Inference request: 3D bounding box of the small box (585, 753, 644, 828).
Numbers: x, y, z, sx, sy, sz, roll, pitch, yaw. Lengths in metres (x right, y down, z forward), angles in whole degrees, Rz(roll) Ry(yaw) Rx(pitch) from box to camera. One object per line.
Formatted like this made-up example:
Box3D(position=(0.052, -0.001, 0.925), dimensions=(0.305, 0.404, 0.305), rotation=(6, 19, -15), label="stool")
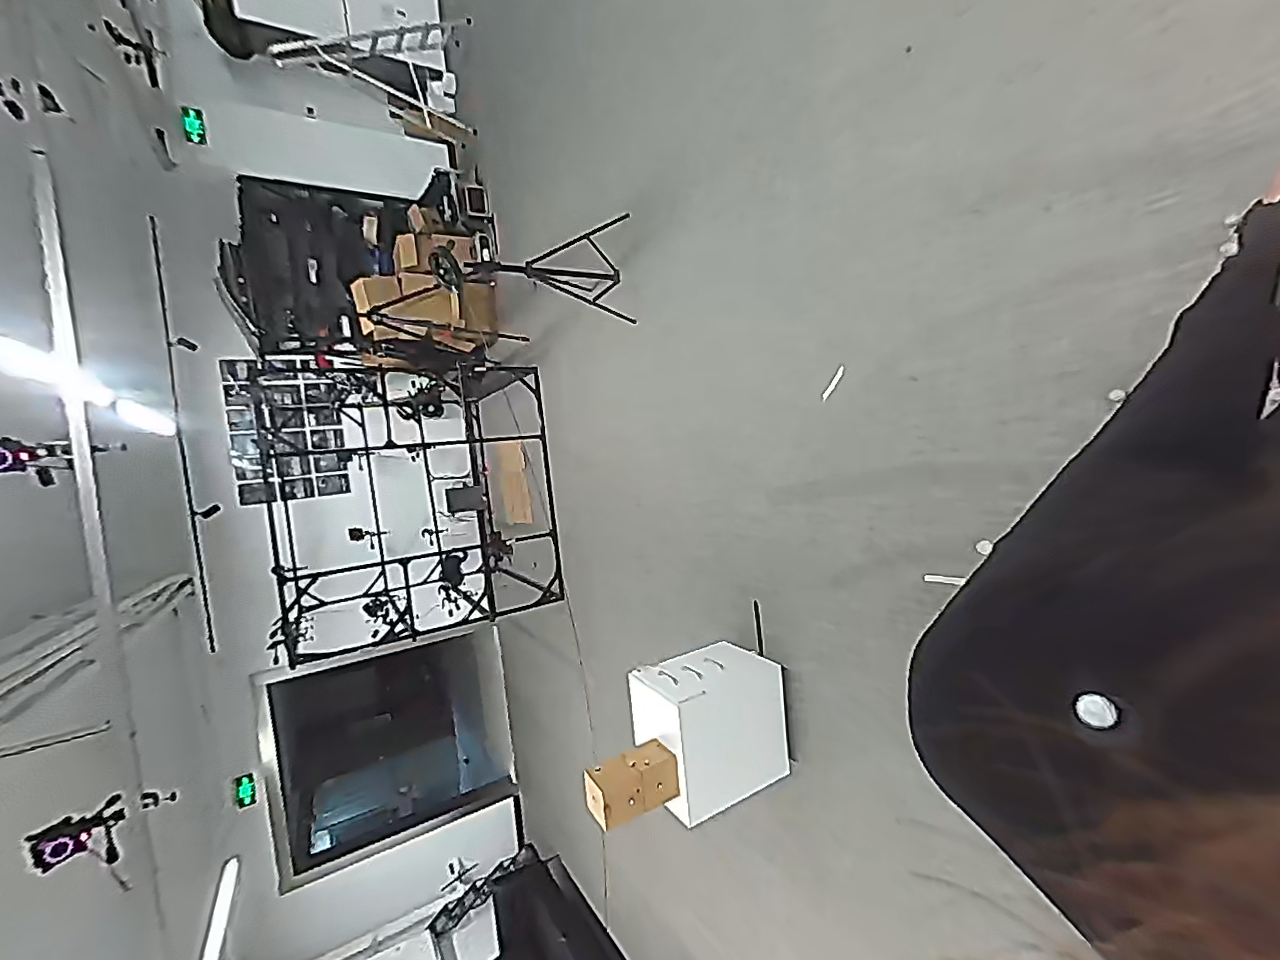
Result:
Box3D(position=(-0.099, 1.203, 2.115), dimensions=(0.179, 0.176, 0.168), rotation=(7, 104, 60), label="small box")
